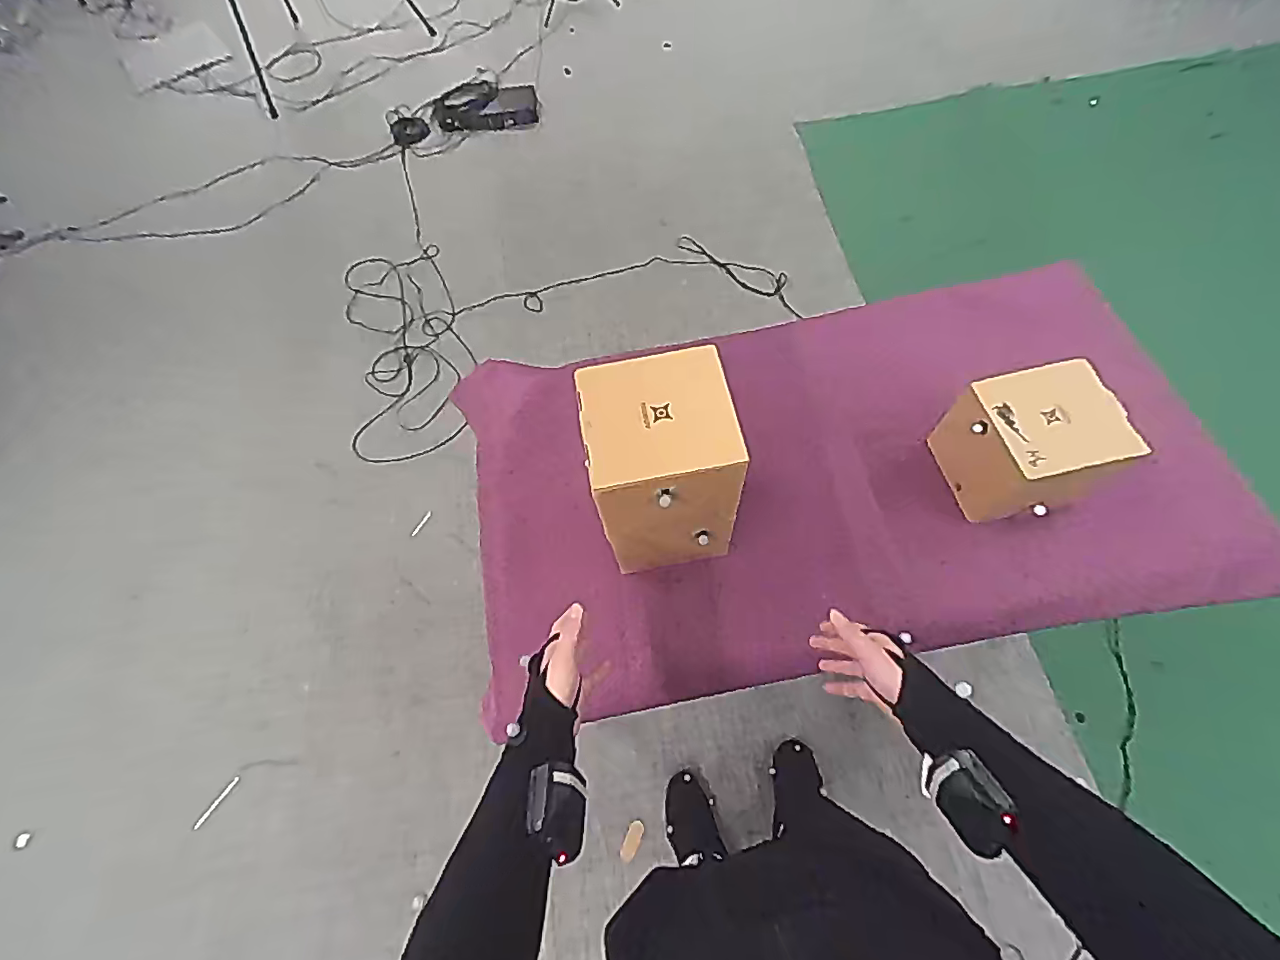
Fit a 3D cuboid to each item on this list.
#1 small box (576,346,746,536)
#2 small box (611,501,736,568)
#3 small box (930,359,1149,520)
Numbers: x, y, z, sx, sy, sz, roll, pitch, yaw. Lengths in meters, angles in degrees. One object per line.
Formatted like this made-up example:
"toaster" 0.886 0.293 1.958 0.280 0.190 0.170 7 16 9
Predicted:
"small box" 0.025 -0.042 0.694 0.179 0.176 0.168 -11 65 1
"small box" 0.039 0.026 0.840 0.179 0.176 0.168 -11 64 0
"small box" 0.587 -0.055 0.825 0.179 0.176 0.168 -12 64 0
